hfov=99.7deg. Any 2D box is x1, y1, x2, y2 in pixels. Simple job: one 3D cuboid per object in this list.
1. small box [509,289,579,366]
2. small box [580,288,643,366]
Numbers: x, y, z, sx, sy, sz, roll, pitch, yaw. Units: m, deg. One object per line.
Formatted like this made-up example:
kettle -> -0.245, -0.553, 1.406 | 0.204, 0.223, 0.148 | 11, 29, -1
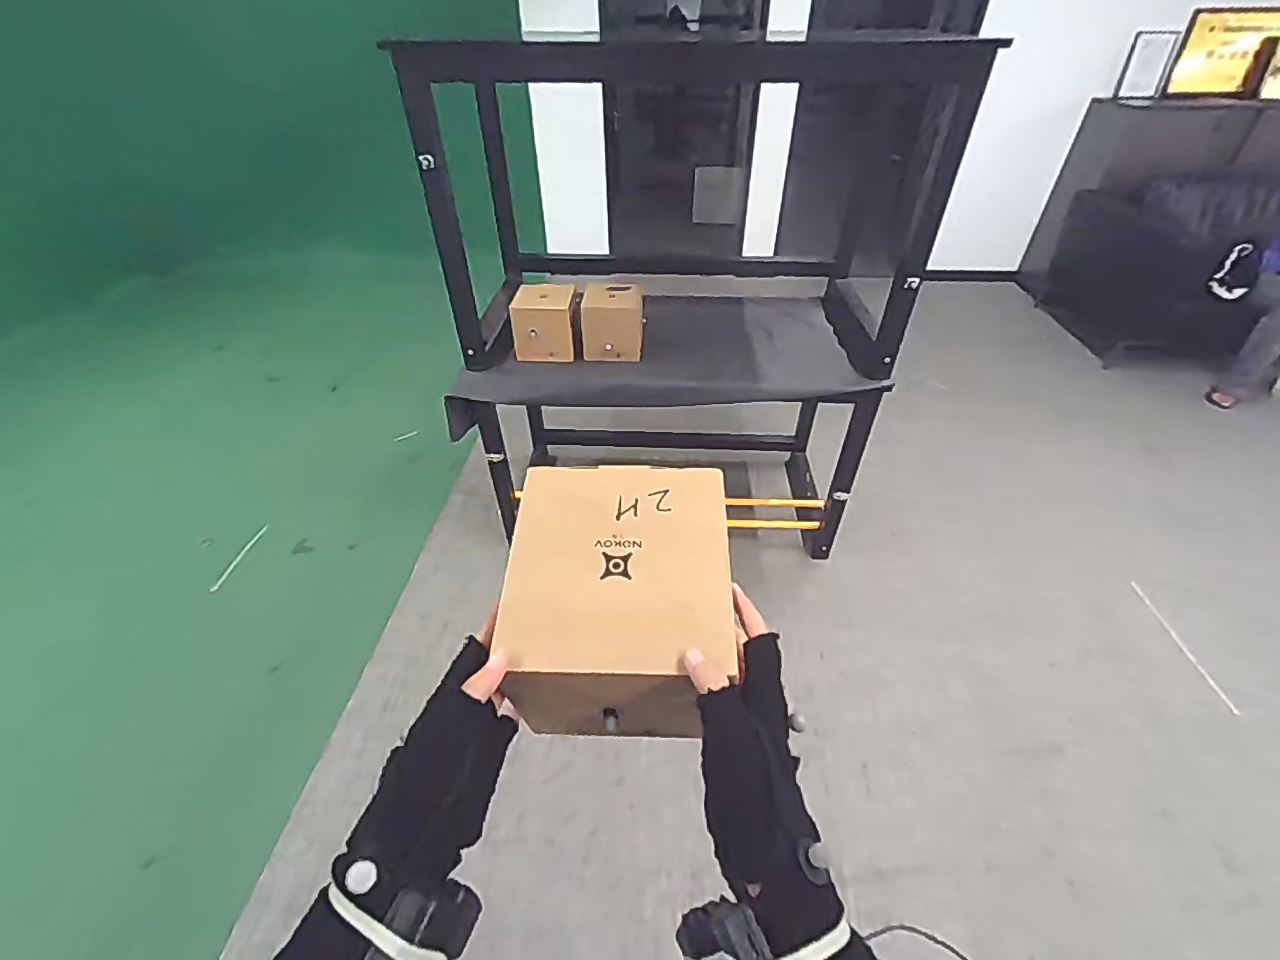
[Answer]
small box -> -0.275, -0.449, 1.595 | 0.168, 0.176, 0.179 | 1, 40, 1
small box -> -0.079, -0.453, 1.597 | 0.168, 0.176, 0.179 | 1, 41, 3
